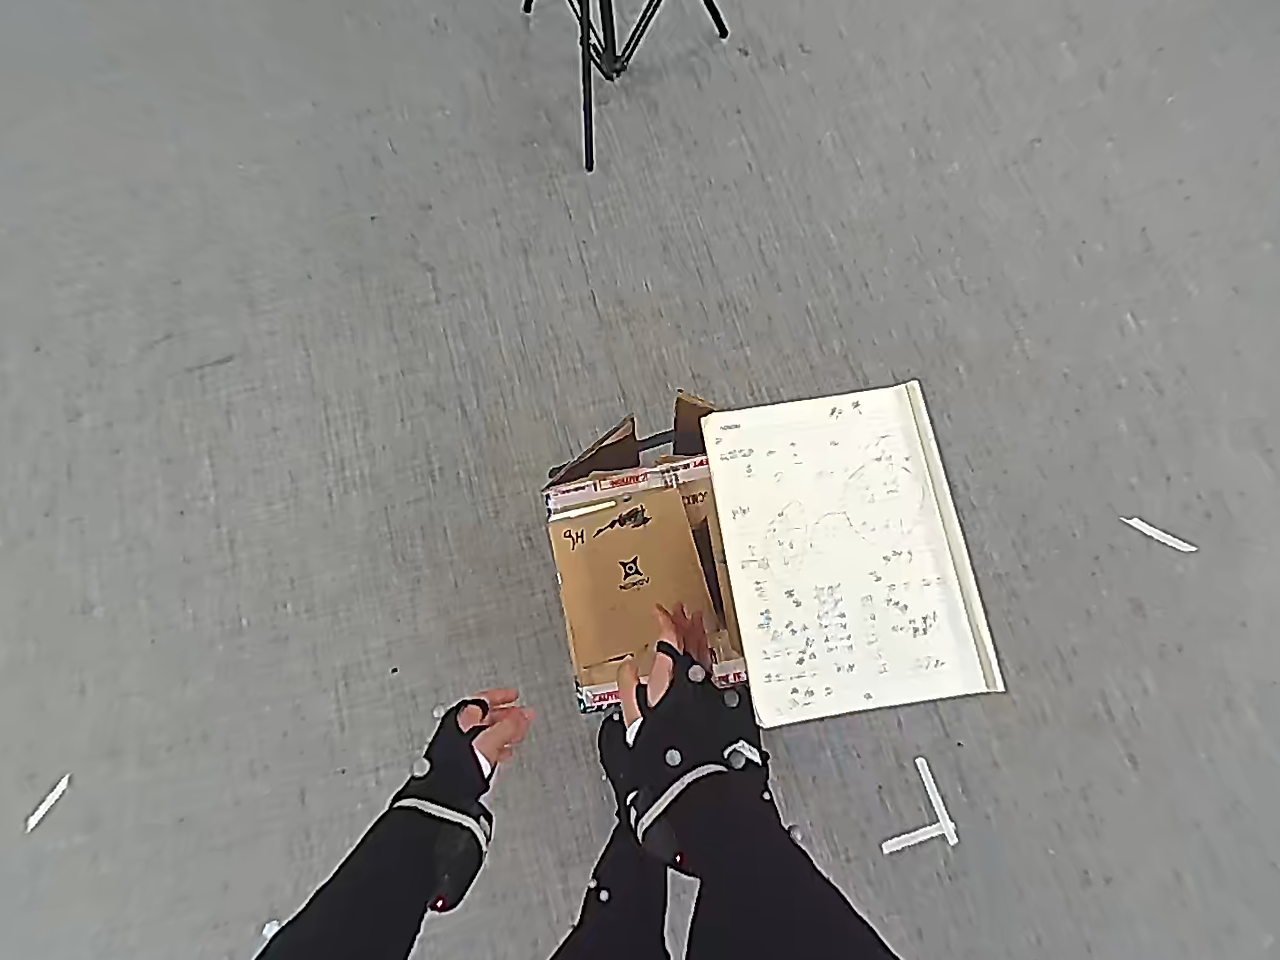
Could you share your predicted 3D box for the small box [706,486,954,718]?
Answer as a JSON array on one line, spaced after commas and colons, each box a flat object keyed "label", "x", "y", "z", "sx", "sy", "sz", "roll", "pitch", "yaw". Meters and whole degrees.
[{"label": "small box", "x": 0.166, "y": 0.115, "z": 0.536, "sx": 0.168, "sy": 0.176, "sz": 0.179, "roll": -9, "pitch": 80, "yaw": -1}]
